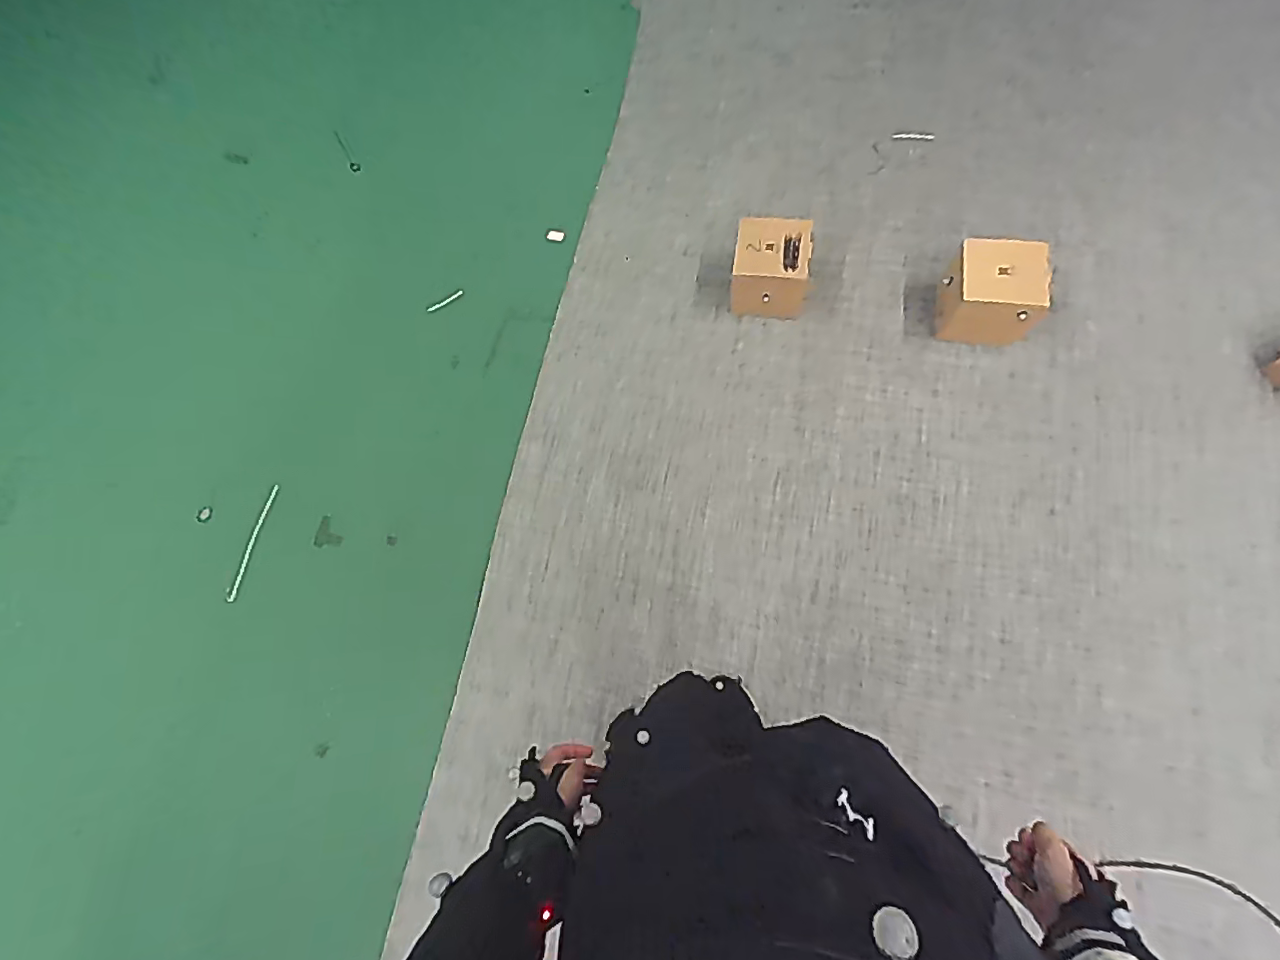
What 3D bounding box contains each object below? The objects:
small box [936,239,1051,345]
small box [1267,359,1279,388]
[{"bbox_3d":[0.808,-0.431,1.254,0.179,0.176,0.168,7,75,9],"label":"small box"},{"bbox_3d":[1.485,-0.247,1.106,0.179,0.176,0.168,-32,71,-2],"label":"small box"}]
